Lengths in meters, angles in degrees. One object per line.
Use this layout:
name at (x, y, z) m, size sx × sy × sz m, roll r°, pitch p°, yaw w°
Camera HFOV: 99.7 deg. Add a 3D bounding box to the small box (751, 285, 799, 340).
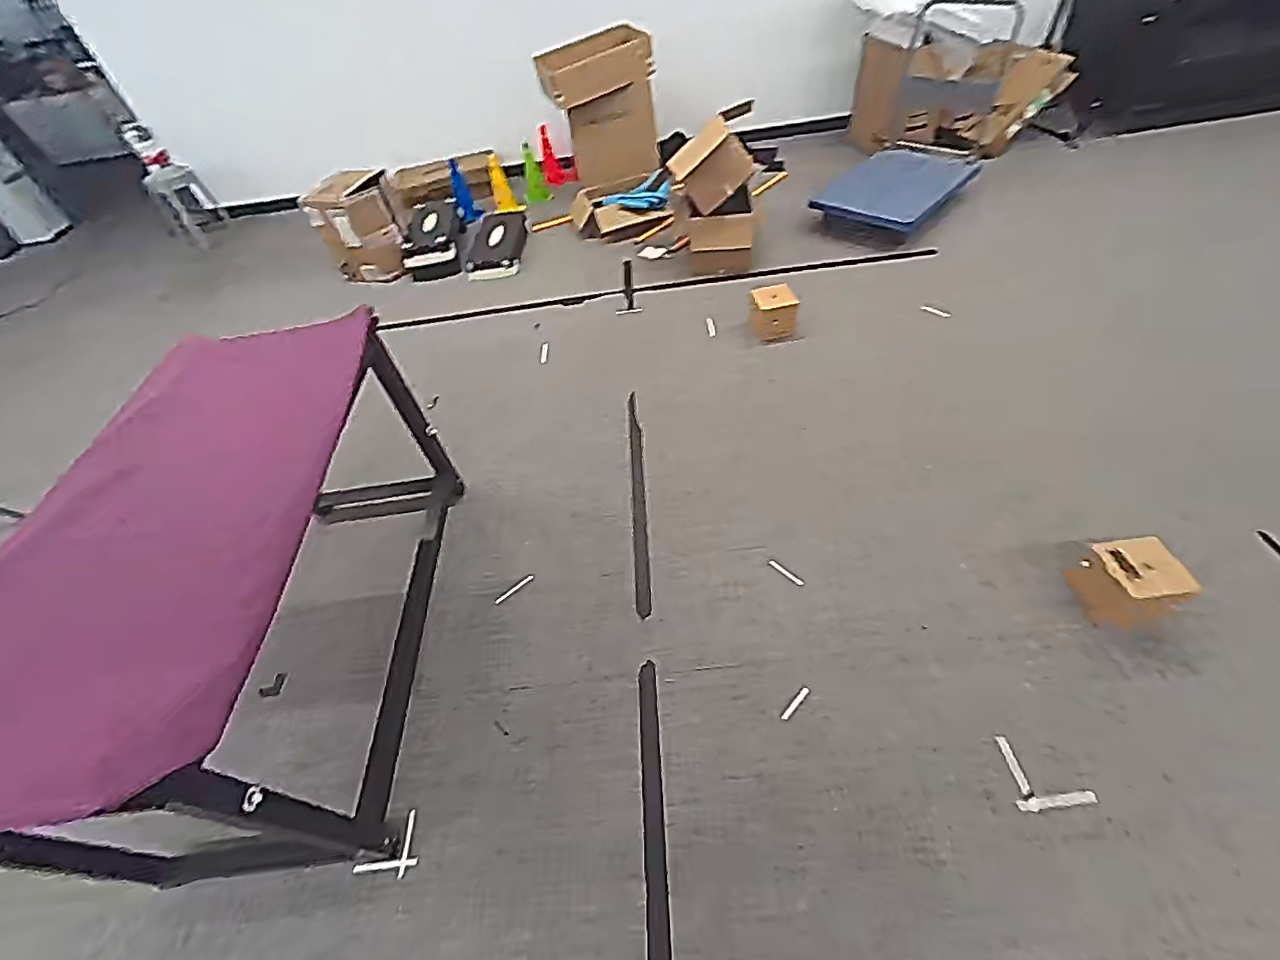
small box at (0.609, -0.750, 2.449) m, size 0.168 × 0.176 × 0.179 m, roll -12°, pitch 48°, yaw -2°
